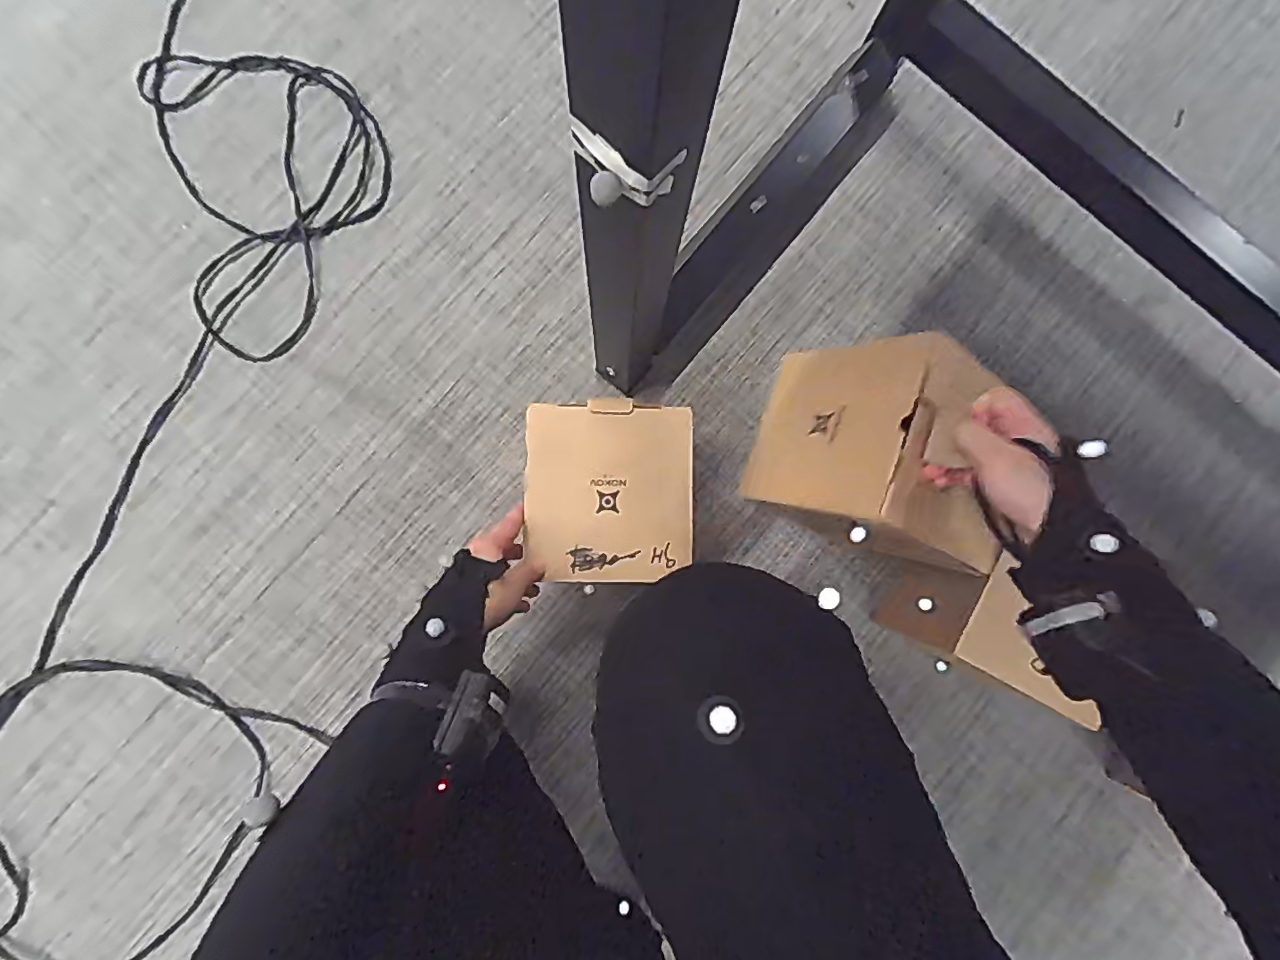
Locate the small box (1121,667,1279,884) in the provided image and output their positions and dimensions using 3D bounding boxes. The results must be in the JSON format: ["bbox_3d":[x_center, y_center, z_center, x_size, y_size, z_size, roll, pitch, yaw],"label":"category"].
[{"bbox_3d":[0.718,0.349,0.618,0.168,0.176,0.179,35,85,-1],"label":"small box"}]
